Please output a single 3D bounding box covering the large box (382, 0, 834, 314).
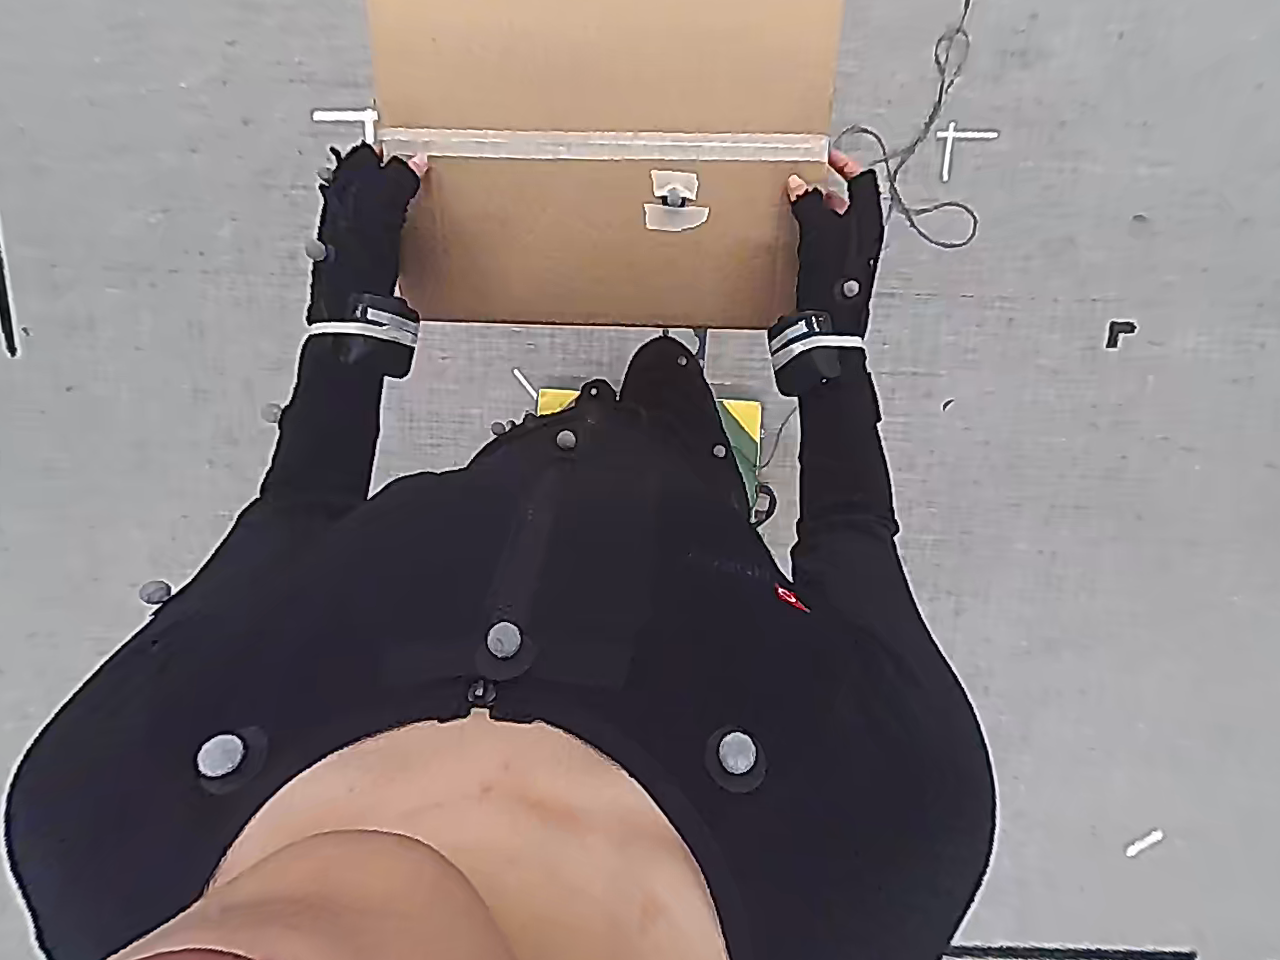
[{"bbox_3d":[-0.030,-0.365,0.646,0.408,0.320,0.320,1,109,0],"label":"large box"}]
